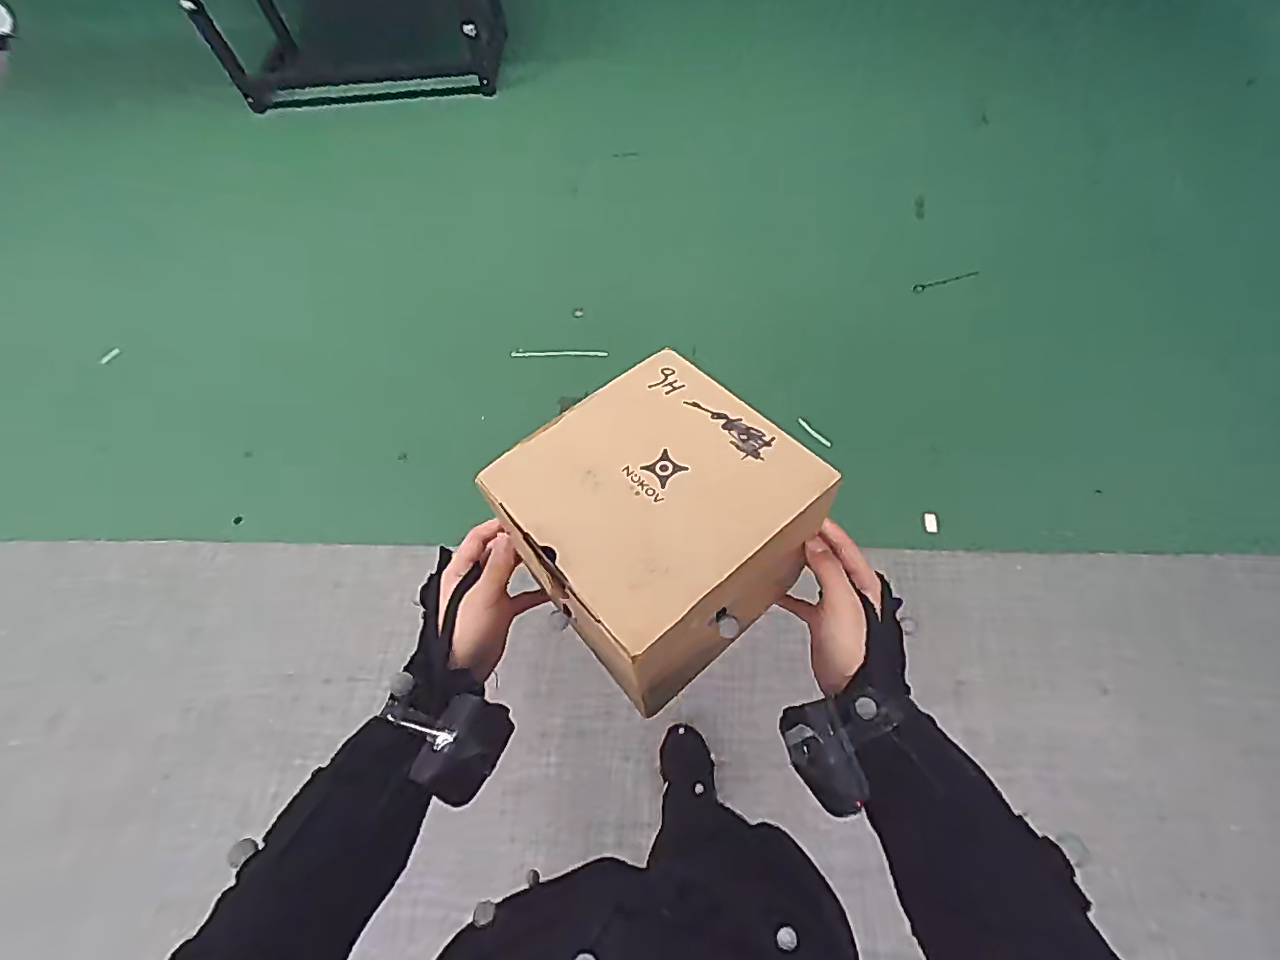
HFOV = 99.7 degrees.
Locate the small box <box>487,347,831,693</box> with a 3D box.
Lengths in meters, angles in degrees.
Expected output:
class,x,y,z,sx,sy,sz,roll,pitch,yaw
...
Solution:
class,x,y,z,sx,sy,sz,roll,pitch,yaw
small box,0.017,0.038,0.426,0.179,0.176,0.168,-37,62,-18
